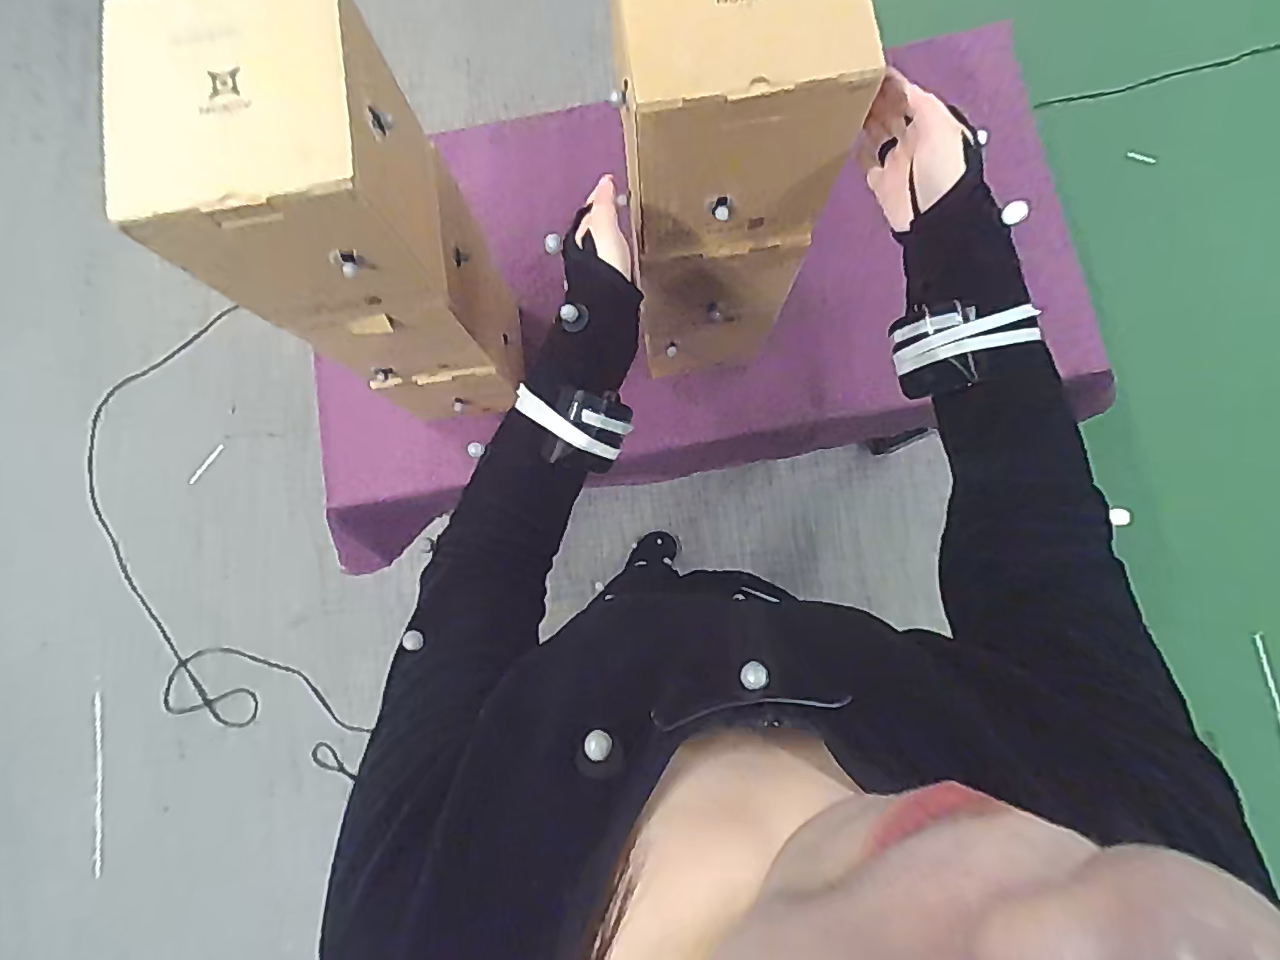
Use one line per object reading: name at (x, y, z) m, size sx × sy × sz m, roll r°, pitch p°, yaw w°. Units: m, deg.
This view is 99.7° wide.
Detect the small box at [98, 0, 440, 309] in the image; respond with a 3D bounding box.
small box at (-0.277, -0.255, 0.440) m, size 0.168 × 0.176 × 0.179 m, roll -8°, pitch 82°, yaw -1°

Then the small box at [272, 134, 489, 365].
small box at (-0.275, -0.237, 0.602) m, size 0.168 × 0.176 × 0.179 m, roll -6°, pitch 81°, yaw 0°

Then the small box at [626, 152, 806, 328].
small box at (0.072, -0.290, 0.602) m, size 0.168 × 0.176 × 0.179 m, roll -5°, pitch 82°, yaw 1°

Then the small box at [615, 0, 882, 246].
small box at (0.068, -0.324, 0.442) m, size 0.168 × 0.176 × 0.179 m, roll -7°, pitch 83°, yaw 0°

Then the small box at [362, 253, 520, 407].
small box at (-0.274, -0.208, 0.765) m, size 0.168 × 0.176 × 0.179 m, roll -7°, pitch 83°, yaw -1°
